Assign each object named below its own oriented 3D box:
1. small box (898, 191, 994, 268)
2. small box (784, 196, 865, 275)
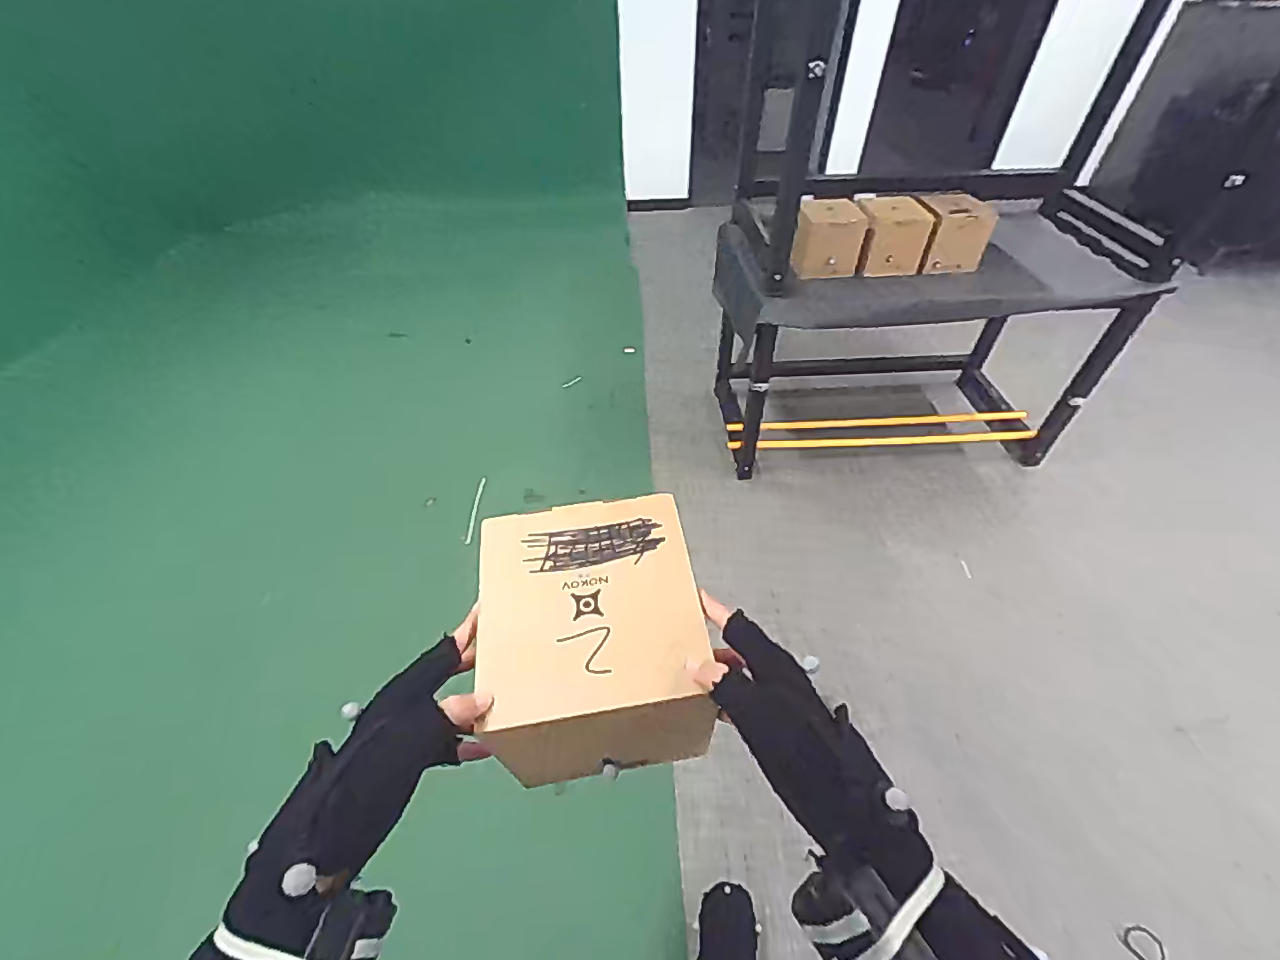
[{"bbox_3d":[0.914,-0.752,1.631,0.168,0.176,0.179,-4,45,-3],"label":"small box"},{"bbox_3d":[0.541,-0.729,1.615,0.168,0.176,0.179,-4,46,-3],"label":"small box"}]
